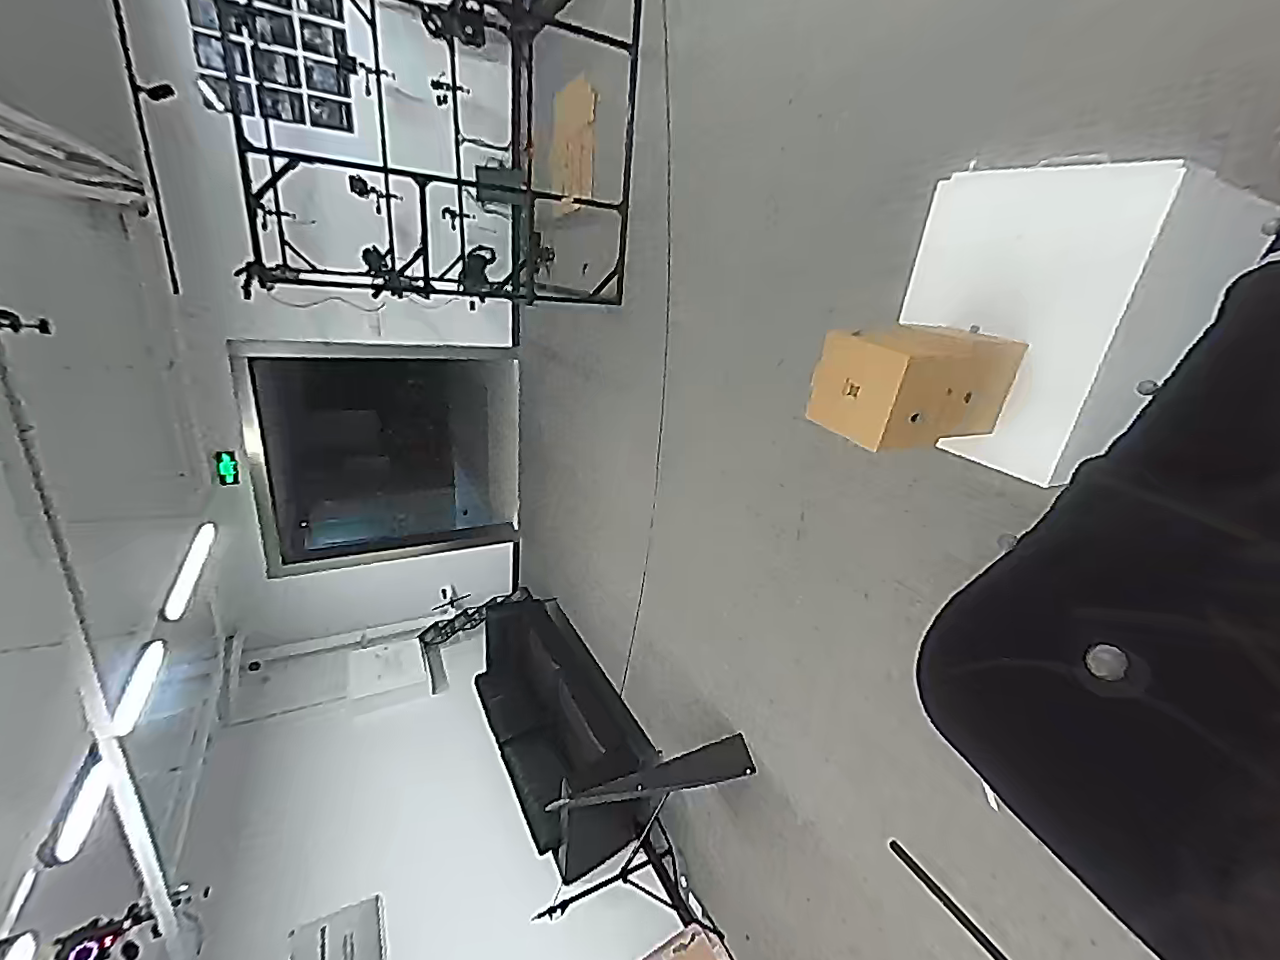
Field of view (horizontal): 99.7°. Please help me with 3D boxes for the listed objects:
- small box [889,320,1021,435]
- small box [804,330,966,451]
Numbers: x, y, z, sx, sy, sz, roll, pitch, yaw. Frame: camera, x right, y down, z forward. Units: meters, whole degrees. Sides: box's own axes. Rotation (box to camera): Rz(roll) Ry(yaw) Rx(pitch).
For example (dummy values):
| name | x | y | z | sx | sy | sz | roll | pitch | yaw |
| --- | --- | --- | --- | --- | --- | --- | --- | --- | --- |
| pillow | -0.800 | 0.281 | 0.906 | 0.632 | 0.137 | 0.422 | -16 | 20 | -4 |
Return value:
| name | x | y | z | sx | sy | sz | roll | pitch | yaw |
| --- | --- | --- | --- | --- | --- | --- | --- | --- | --- |
| small box | 0.575 | -0.197 | 1.026 | 0.168 | 0.176 | 0.179 | 42 | 130 | 52 |
| small box | 0.430 | -0.165 | 0.957 | 0.179 | 0.176 | 0.168 | 44 | 133 | 51 |
